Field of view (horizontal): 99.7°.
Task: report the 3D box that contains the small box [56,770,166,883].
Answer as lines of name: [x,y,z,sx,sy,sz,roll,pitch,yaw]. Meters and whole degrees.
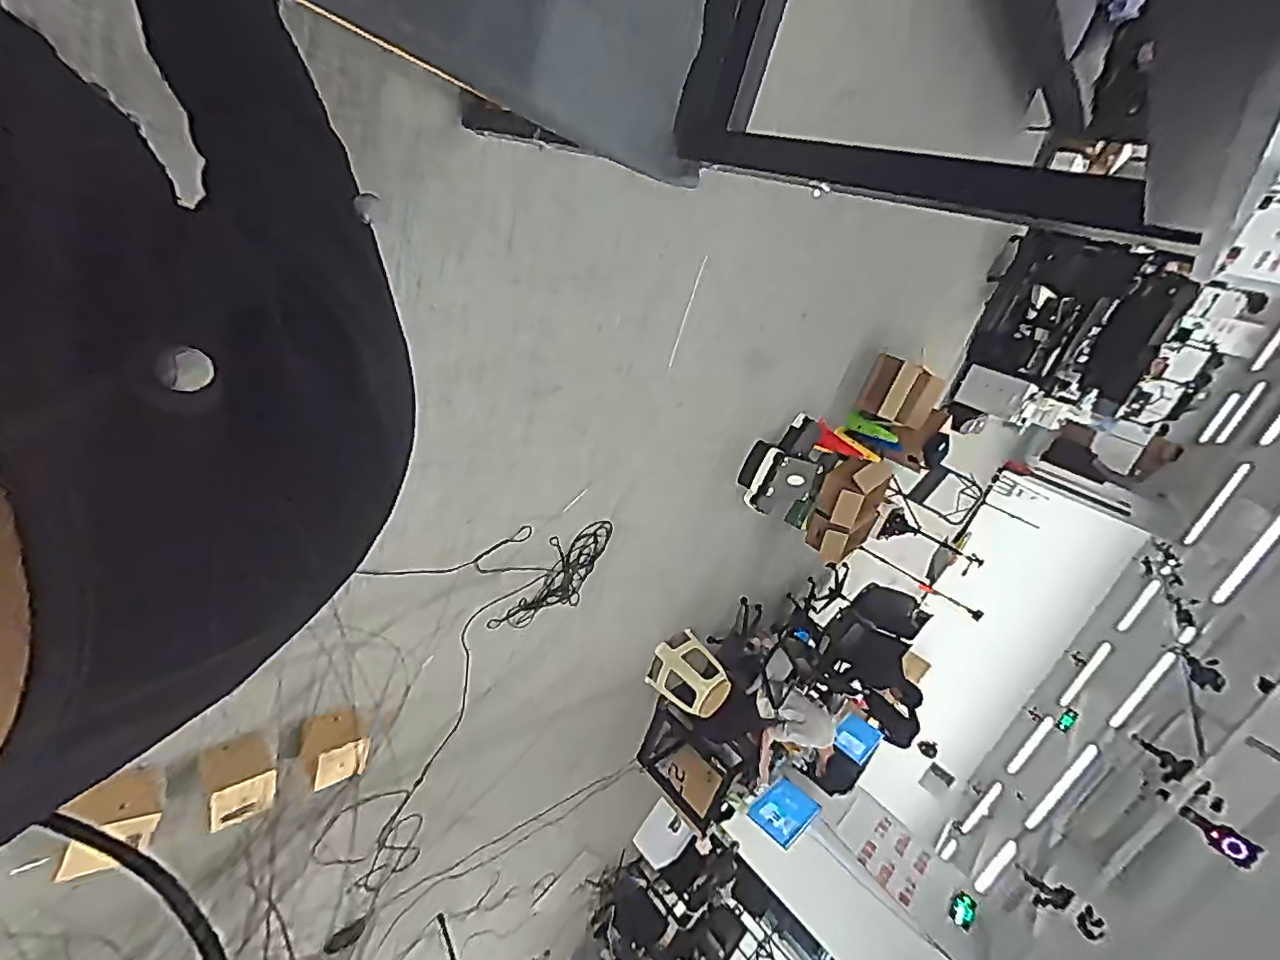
small box: [-1.433,0.924,1.464,0.179,0.176,0.168,17,103,-52]

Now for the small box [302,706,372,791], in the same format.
small box: [-1.072,0.938,1.905,0.168,0.176,0.179,-5,120,-48]
